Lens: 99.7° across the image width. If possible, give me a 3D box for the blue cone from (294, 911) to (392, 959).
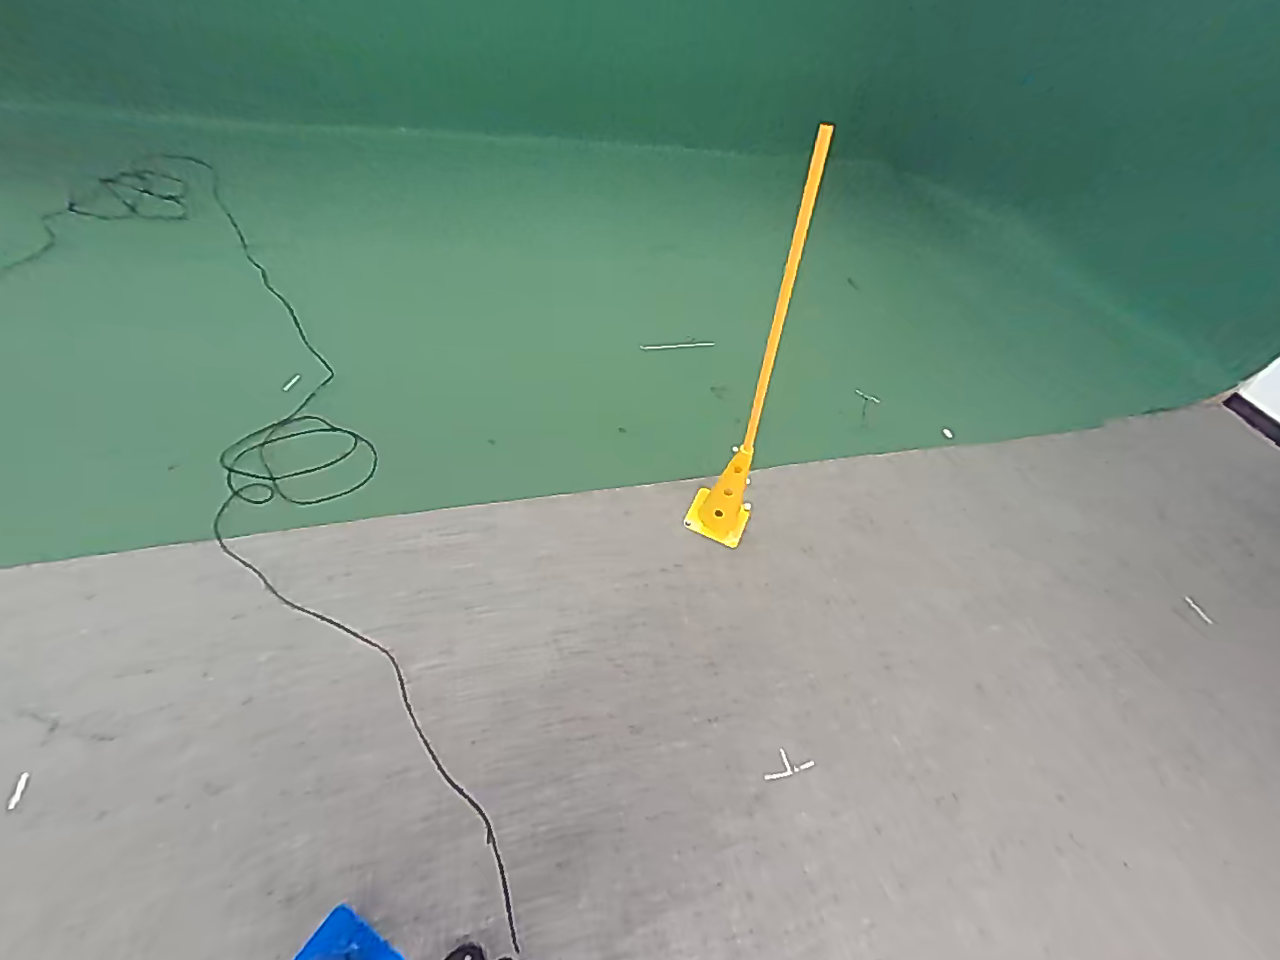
[{"bbox_3d":[-0.561,0.862,0.888,0.192,0.380,0.193,29,53,12],"label":"blue cone"}]
